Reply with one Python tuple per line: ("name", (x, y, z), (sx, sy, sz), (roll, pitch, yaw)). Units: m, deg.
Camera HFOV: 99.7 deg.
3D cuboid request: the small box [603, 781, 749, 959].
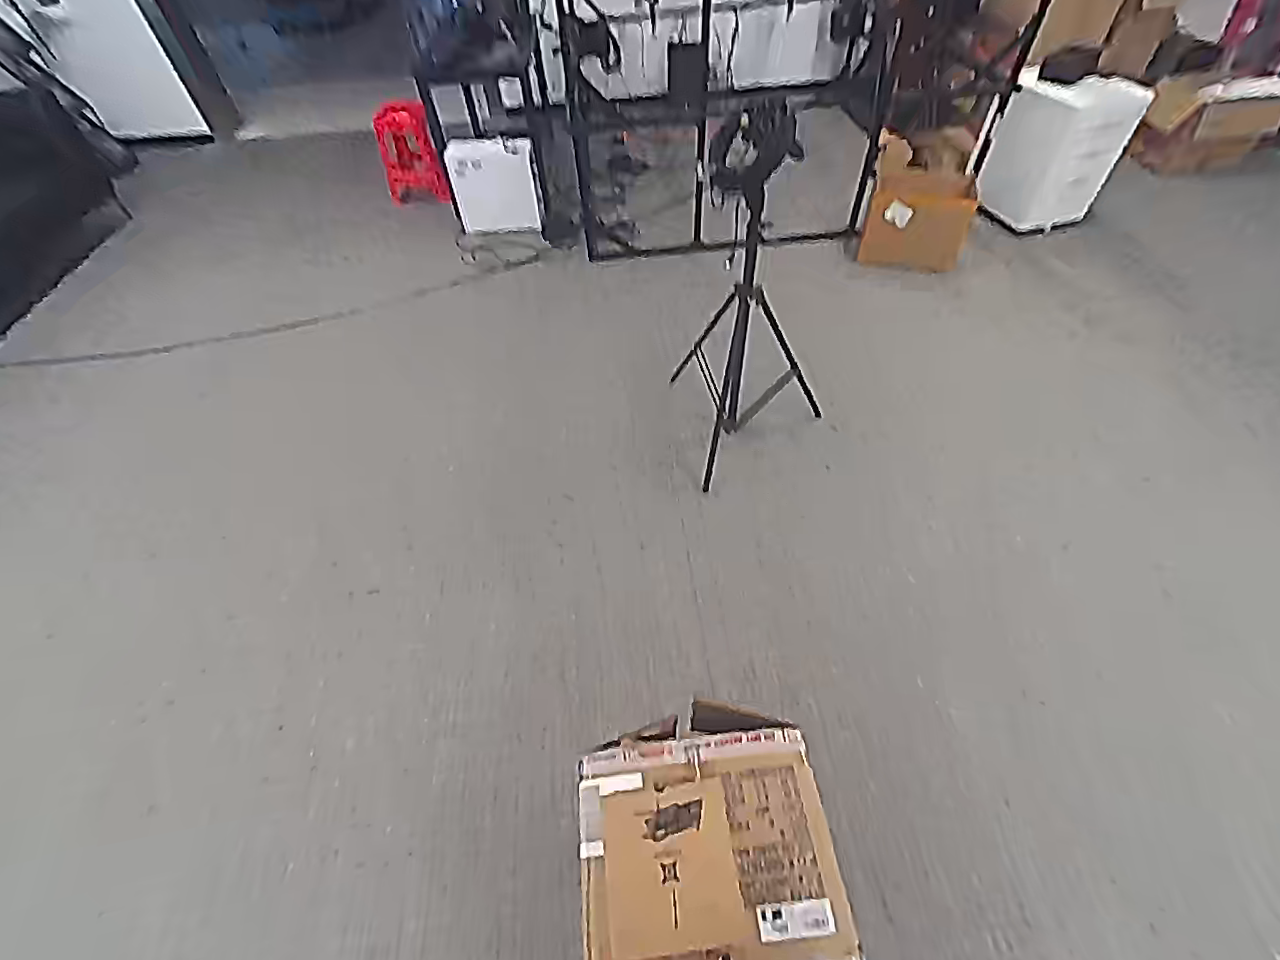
("small box", (0.041, 0.532, 0.740), (0.168, 0.176, 0.179), (-7, 54, -1))
